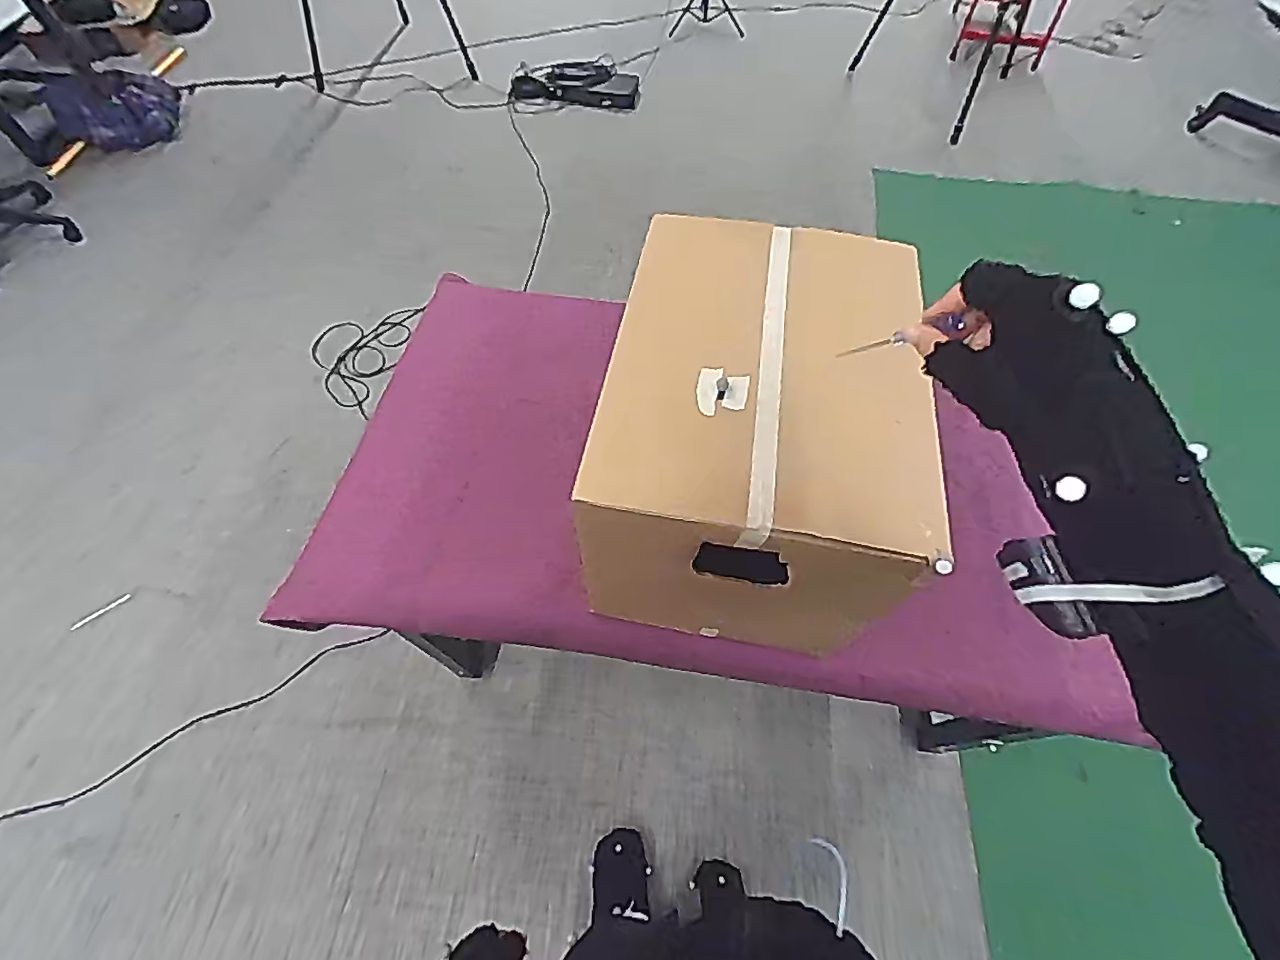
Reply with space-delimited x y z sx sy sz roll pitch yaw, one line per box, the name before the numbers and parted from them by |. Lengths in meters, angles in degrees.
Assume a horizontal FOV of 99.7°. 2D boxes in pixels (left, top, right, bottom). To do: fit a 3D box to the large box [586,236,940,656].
large box | 0.130 -0.035 0.688 0.320 0.320 0.408 10 60 5
